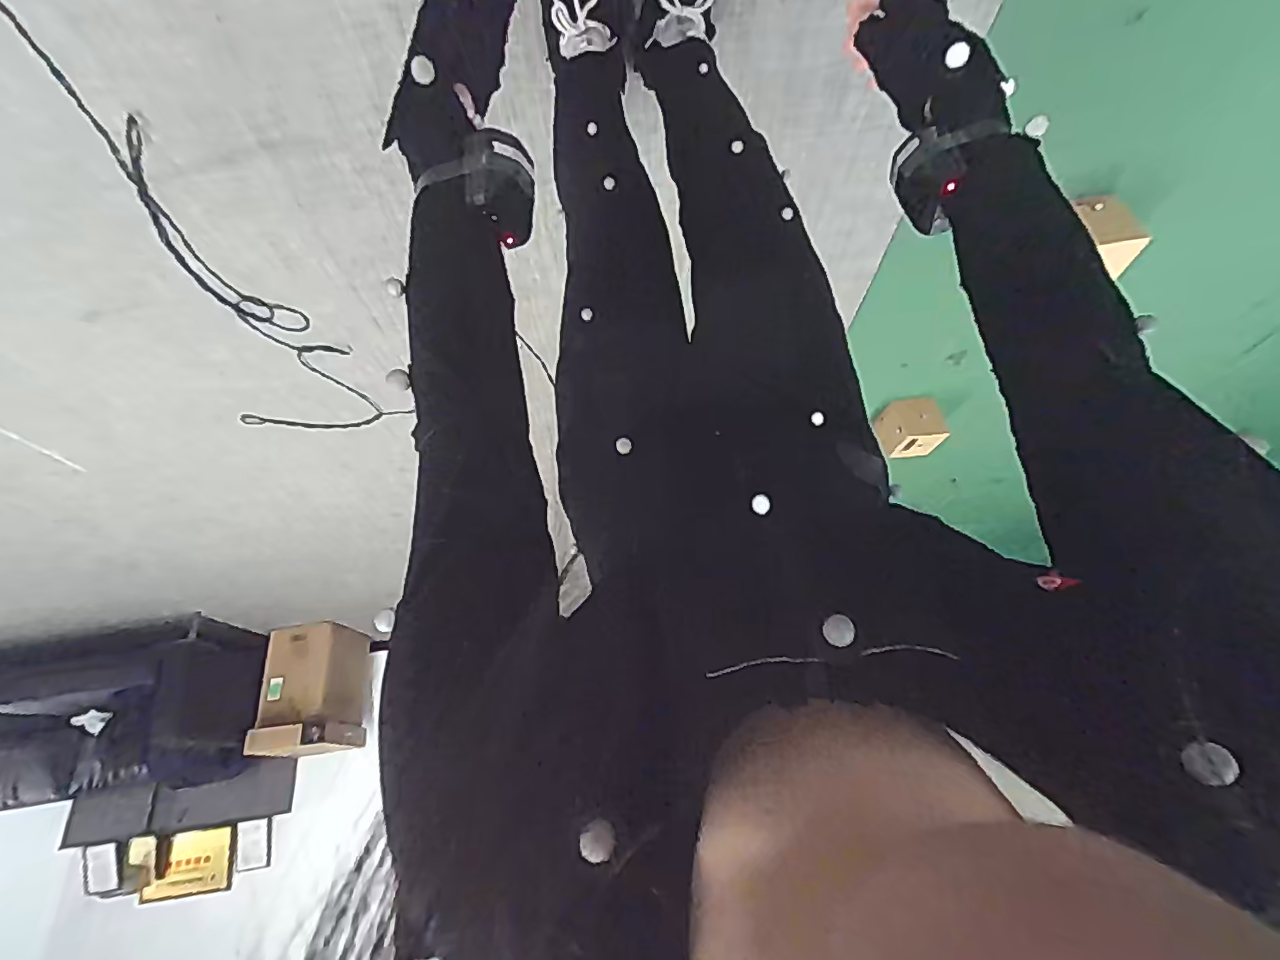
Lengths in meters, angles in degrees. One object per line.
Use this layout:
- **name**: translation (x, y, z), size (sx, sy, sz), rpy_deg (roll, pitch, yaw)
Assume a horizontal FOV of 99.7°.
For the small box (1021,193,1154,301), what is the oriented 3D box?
- **small box**: translation (1.108, -0.585, 1.362), size (0.168, 0.176, 0.179), rpy_deg (-9, 152, 0)
